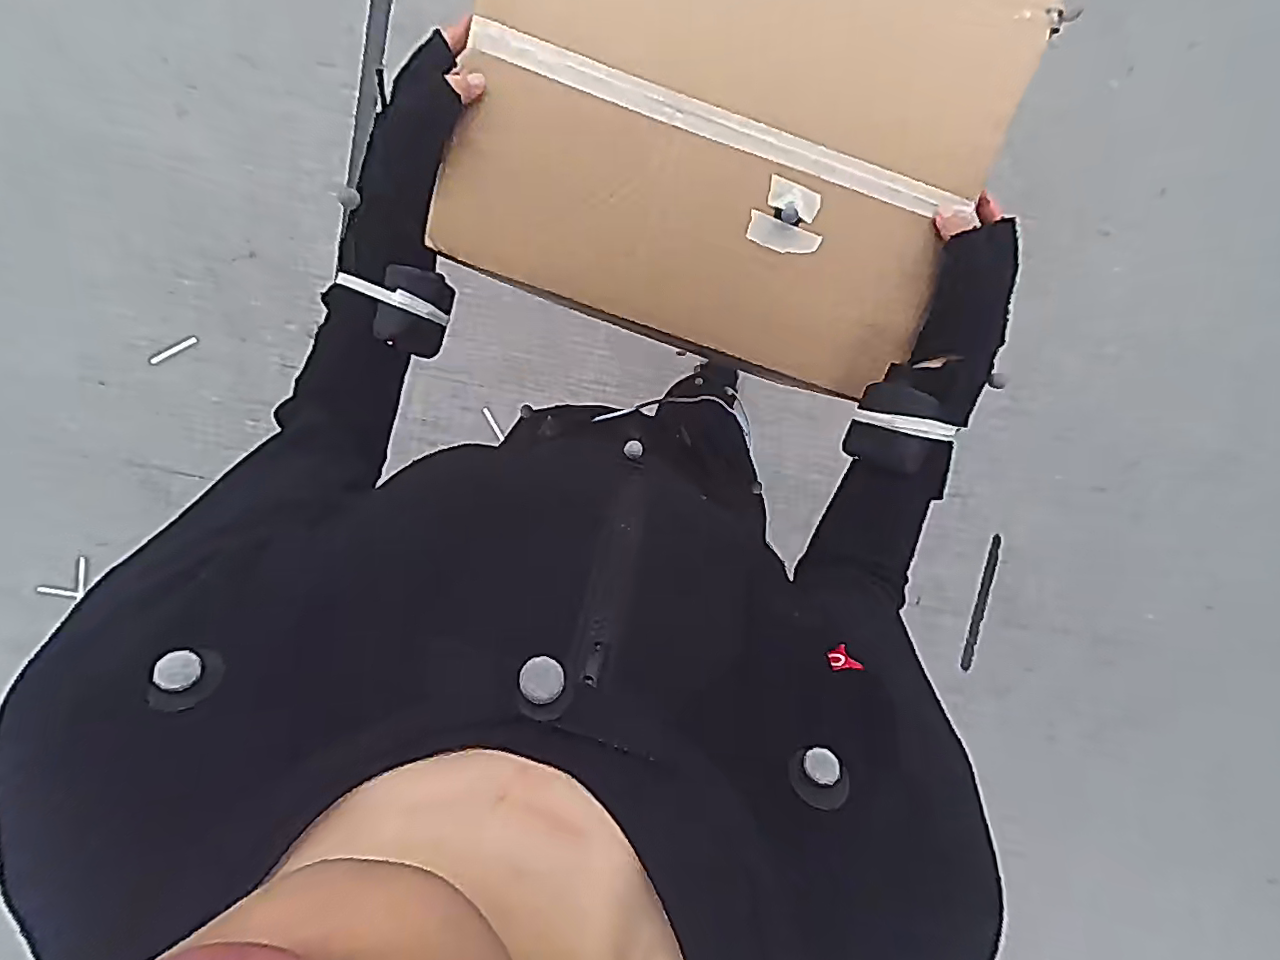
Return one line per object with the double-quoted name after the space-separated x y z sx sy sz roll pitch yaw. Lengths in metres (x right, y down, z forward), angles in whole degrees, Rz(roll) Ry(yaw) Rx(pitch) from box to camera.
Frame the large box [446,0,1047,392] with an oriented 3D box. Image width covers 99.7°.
0.072 -0.310 0.570 0.408 0.320 0.320 19 104 -4 "large box"
